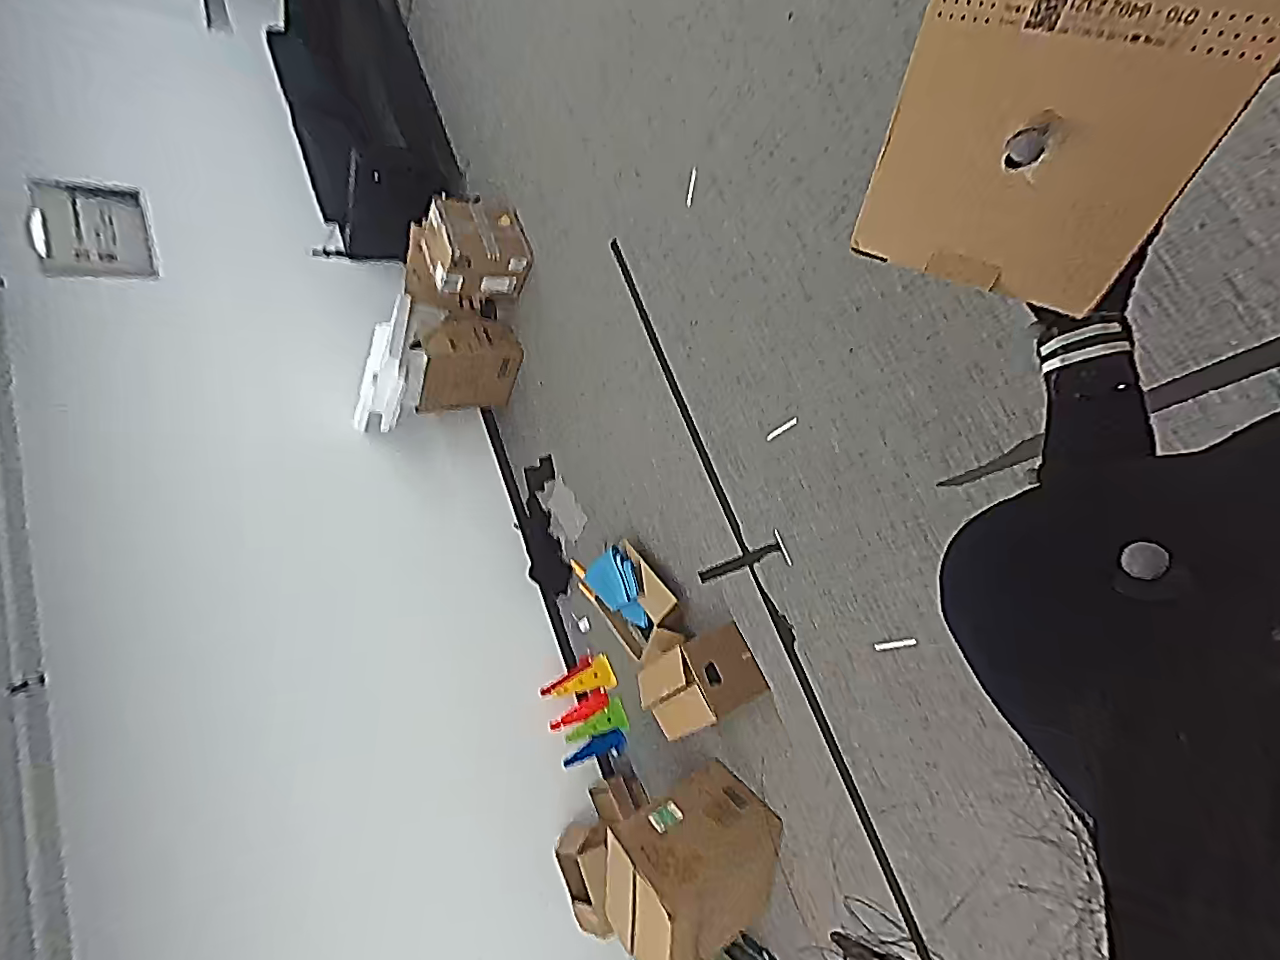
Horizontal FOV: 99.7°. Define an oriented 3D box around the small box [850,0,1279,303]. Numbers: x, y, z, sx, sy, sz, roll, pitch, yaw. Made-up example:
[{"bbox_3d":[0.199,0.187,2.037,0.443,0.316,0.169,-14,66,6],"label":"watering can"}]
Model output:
[{"bbox_3d":[0.268,-0.251,0.351,0.168,0.179,0.176,30,146,21],"label":"small box"}]
